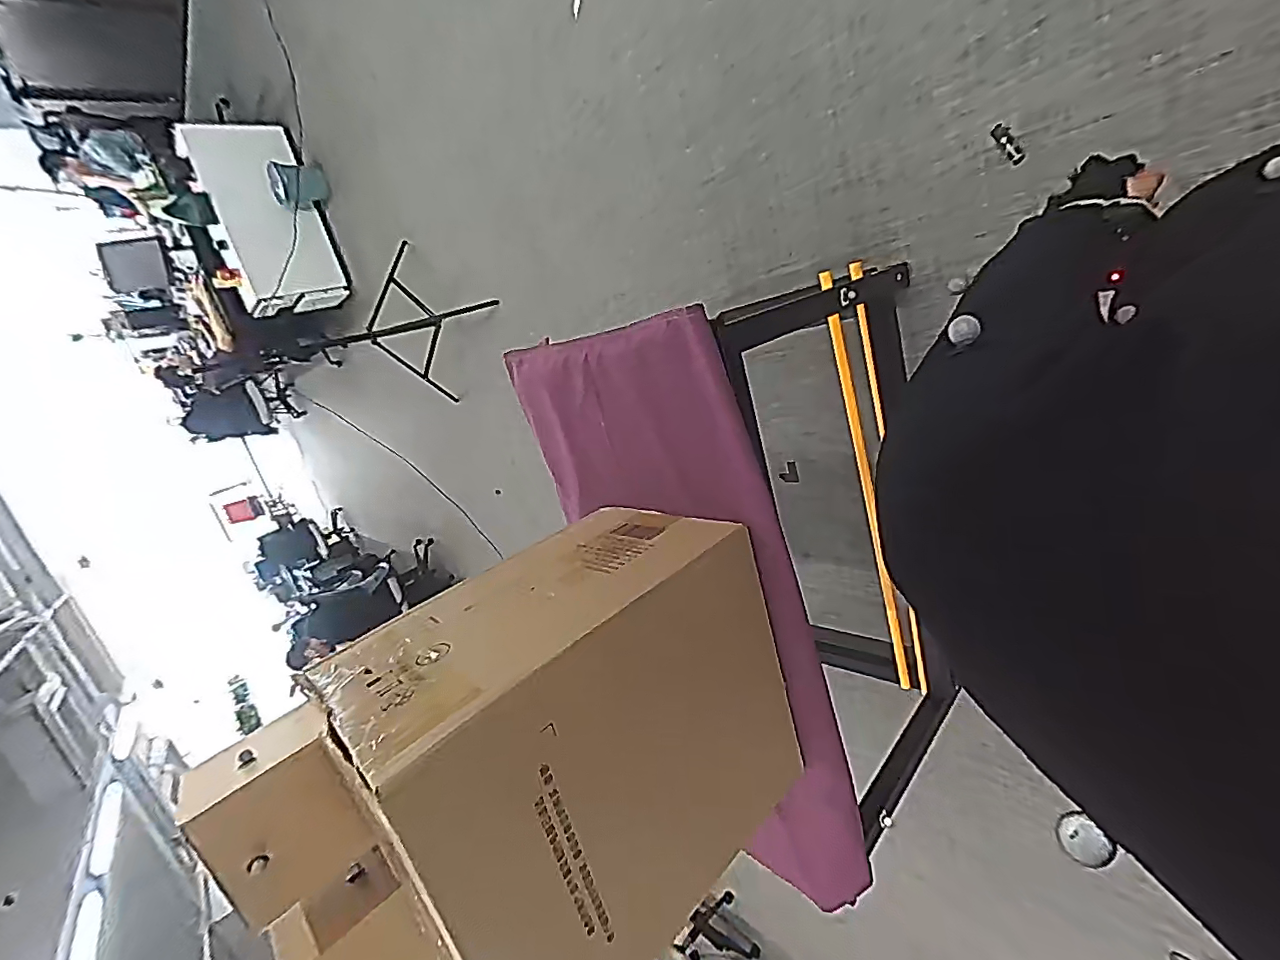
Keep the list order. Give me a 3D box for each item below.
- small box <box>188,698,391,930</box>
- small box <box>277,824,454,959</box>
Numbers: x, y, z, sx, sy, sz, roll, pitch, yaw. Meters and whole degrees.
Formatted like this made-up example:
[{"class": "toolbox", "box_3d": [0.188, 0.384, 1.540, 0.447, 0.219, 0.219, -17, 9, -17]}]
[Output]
[{"class": "small box", "box_3d": [-0.474, 0.433, 0.738, 0.168, 0.176, 0.179, -5, 111, 51]}, {"class": "small box", "box_3d": [-0.399, 0.659, 0.792, 0.168, 0.176, 0.179, 0, 111, 48]}]
